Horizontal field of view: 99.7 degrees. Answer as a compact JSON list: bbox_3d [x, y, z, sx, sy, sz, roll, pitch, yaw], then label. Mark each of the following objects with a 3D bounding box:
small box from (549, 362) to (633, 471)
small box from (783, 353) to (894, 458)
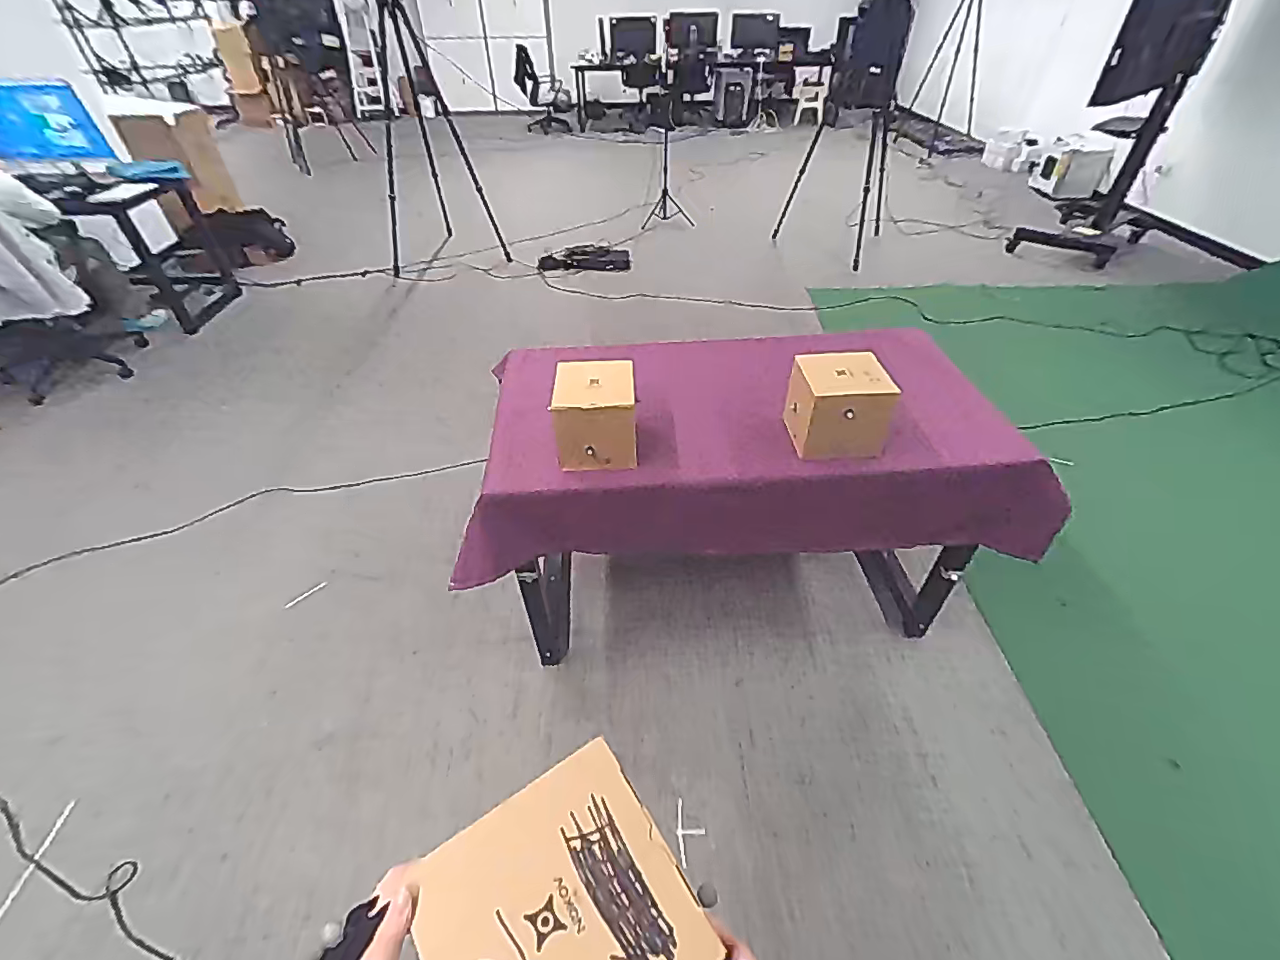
[{"bbox_3d":[-0.101,-0.138,1.174,0.168,0.176,0.179,-2,43,-2],"label":"small box"},{"bbox_3d":[0.420,-0.162,1.185,0.179,0.176,0.168,-2,43,-1],"label":"small box"}]
